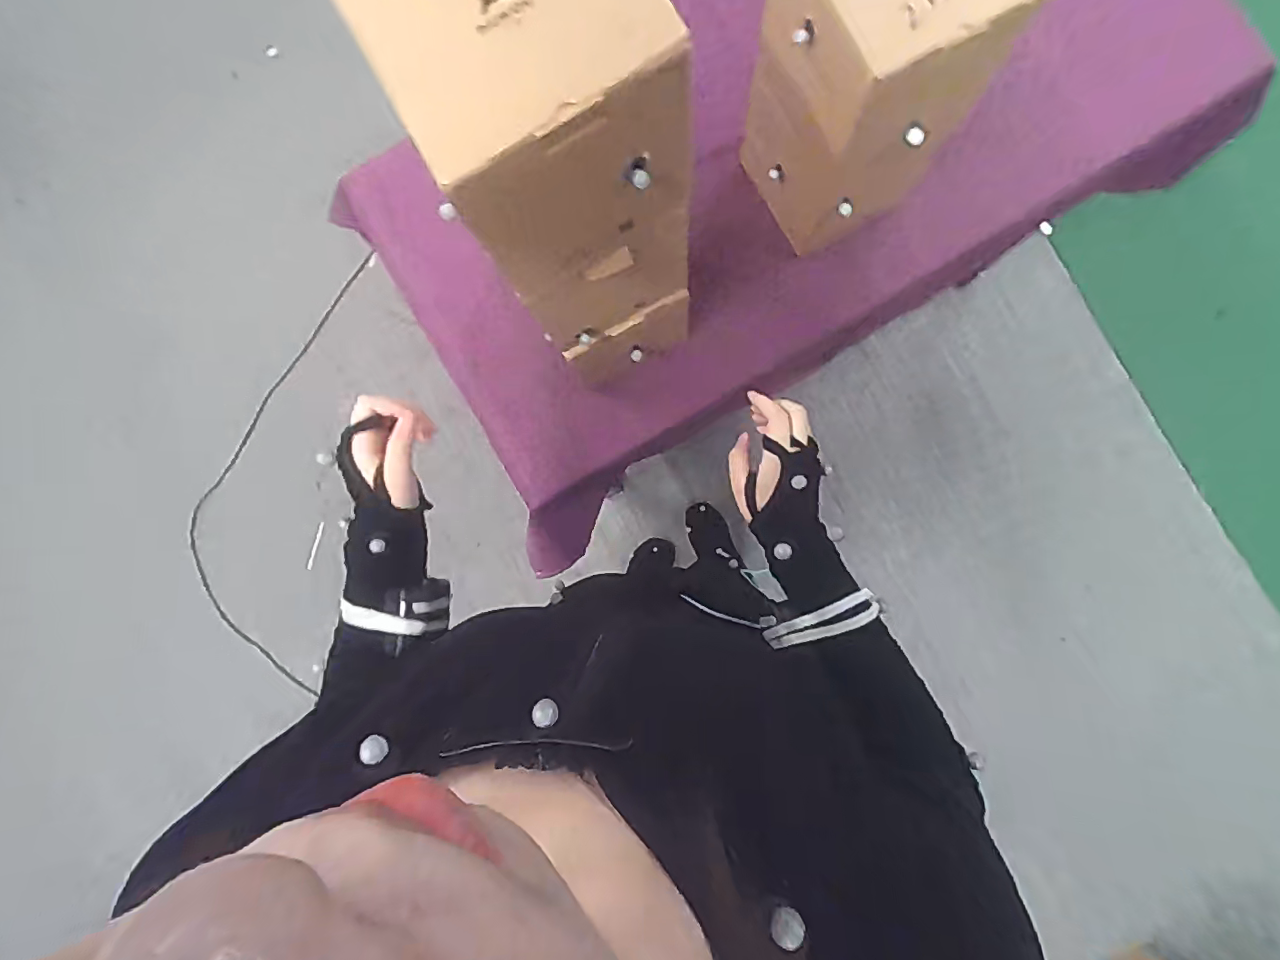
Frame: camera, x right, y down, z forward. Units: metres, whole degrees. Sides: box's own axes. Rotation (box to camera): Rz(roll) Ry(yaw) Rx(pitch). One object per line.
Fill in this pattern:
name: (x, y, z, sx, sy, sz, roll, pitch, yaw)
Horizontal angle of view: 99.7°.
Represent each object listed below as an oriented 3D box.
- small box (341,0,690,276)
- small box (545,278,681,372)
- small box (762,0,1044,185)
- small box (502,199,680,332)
small box: (-0.075, -0.274, 0.390, 0.168, 0.176, 0.179, -29, 86, 2)
small box: (-0.055, -0.259, 0.717, 0.168, 0.176, 0.179, -28, 87, 2)
small box: (0.238, -0.444, 0.538, 0.168, 0.176, 0.179, -26, 87, 3)
small box: (-0.066, -0.272, 0.553, 0.168, 0.176, 0.179, -27, 86, 2)
